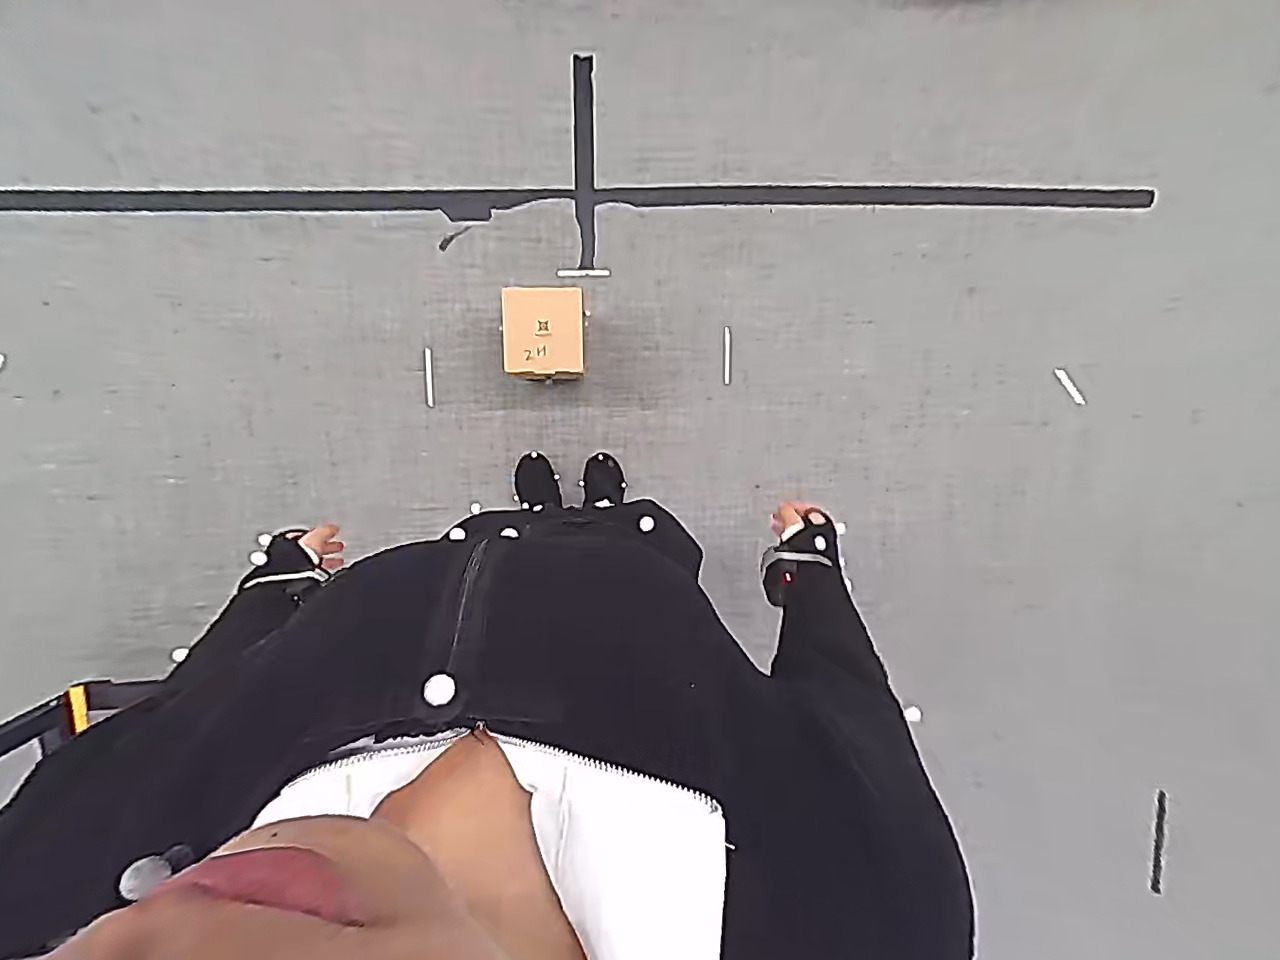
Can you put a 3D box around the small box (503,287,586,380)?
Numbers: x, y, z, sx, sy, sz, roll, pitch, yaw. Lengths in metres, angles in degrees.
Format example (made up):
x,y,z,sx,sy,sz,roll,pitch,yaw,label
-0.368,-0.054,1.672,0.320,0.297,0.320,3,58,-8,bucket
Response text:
x,y,z,sx,sy,sz,roll,pitch,yaw,label
-0.206,-0.318,1.201,0.168,0.176,0.179,-1,97,-3,small box
